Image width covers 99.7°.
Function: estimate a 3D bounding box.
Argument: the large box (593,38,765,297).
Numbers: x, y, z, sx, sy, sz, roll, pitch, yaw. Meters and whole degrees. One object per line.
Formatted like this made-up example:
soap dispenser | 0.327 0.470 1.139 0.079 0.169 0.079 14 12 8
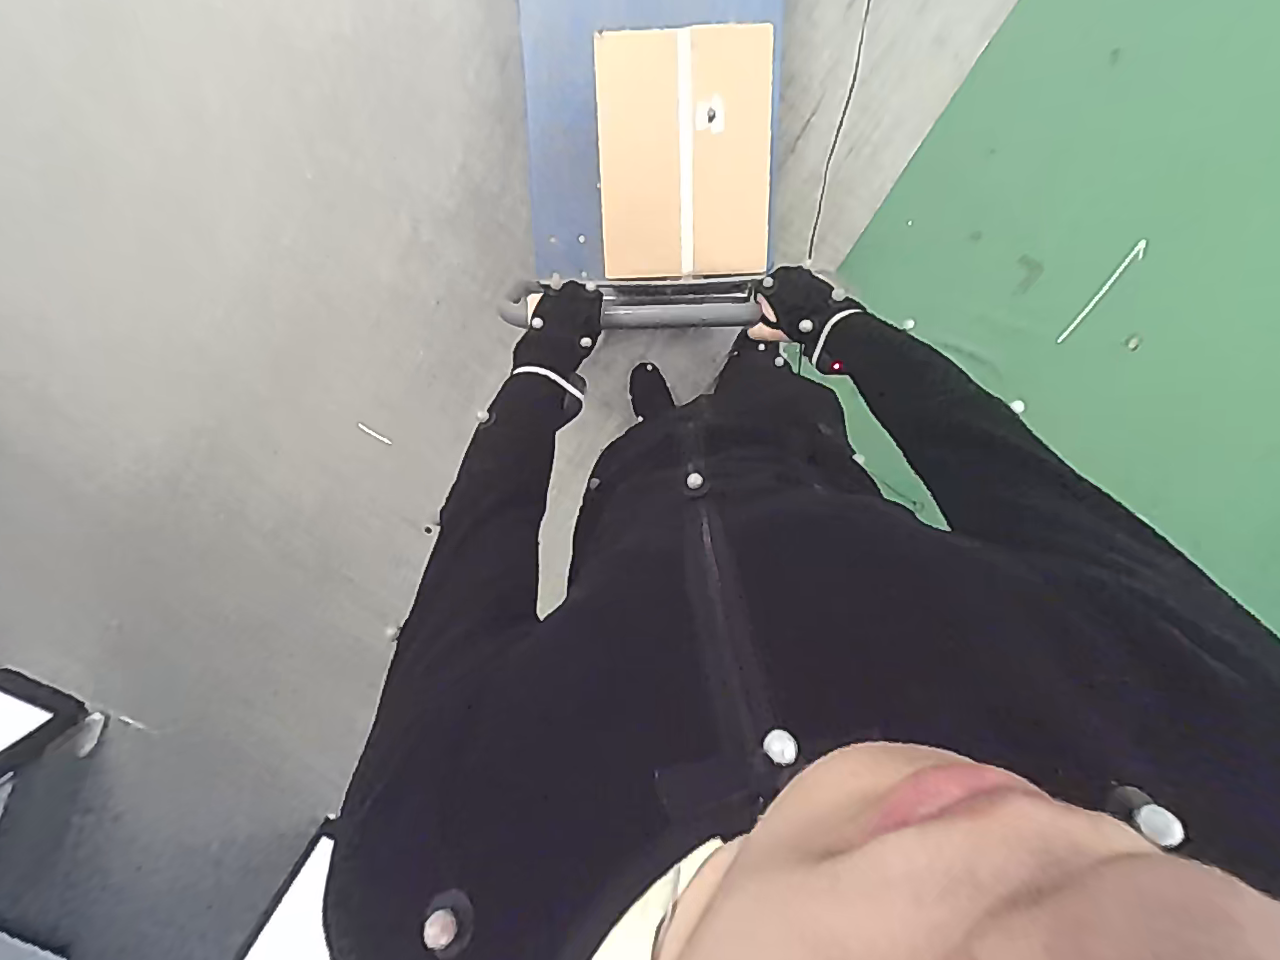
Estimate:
large box | 0.080 -0.622 1.155 0.320 0.320 0.408 -2 104 0
